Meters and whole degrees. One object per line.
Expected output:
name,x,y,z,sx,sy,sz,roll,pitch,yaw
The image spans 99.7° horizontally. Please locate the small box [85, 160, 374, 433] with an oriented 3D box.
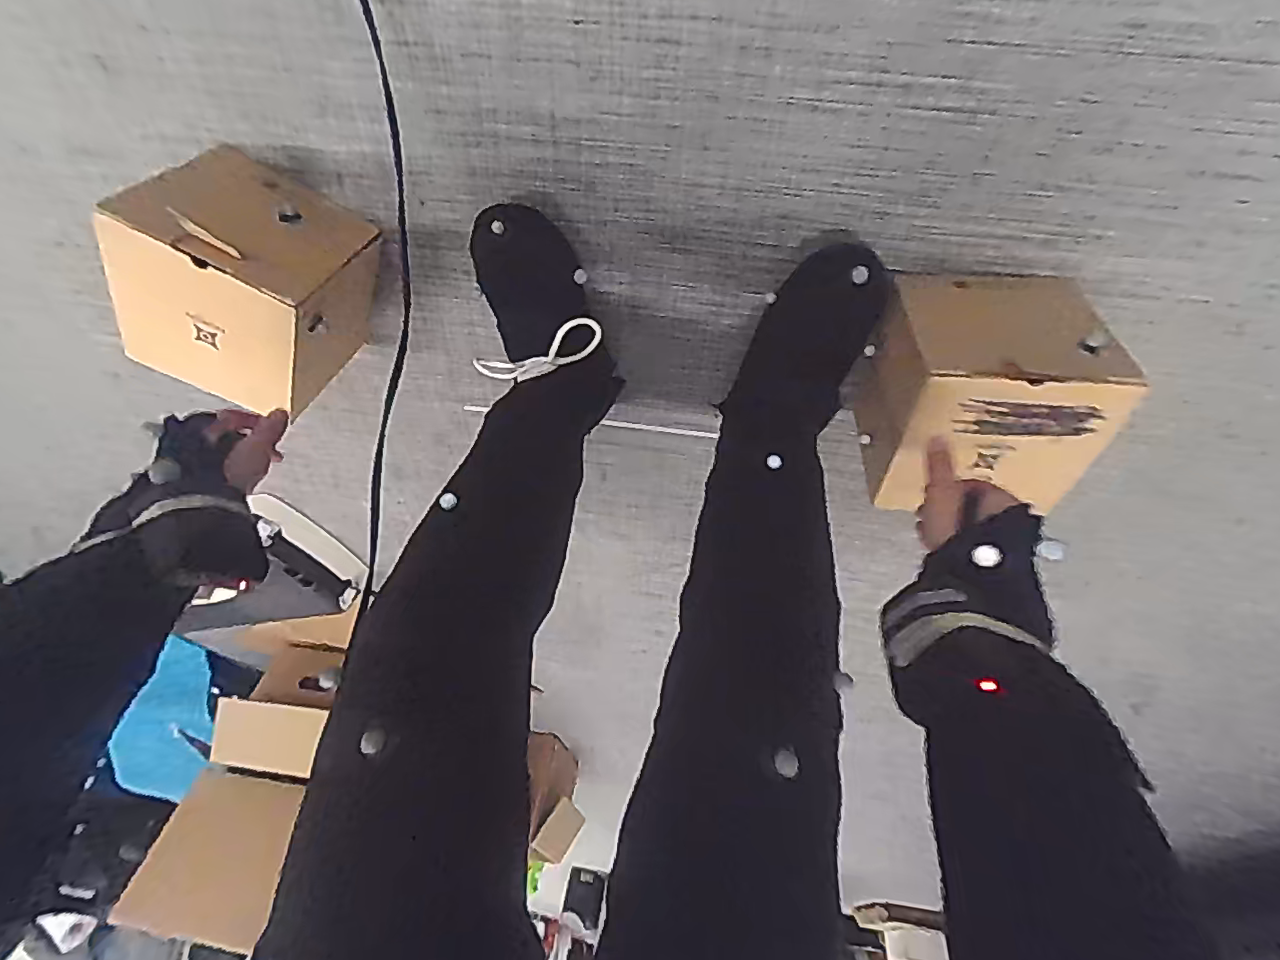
small box,-0.406,-0.190,0.570,0.168,0.176,0.179,26,135,-15
